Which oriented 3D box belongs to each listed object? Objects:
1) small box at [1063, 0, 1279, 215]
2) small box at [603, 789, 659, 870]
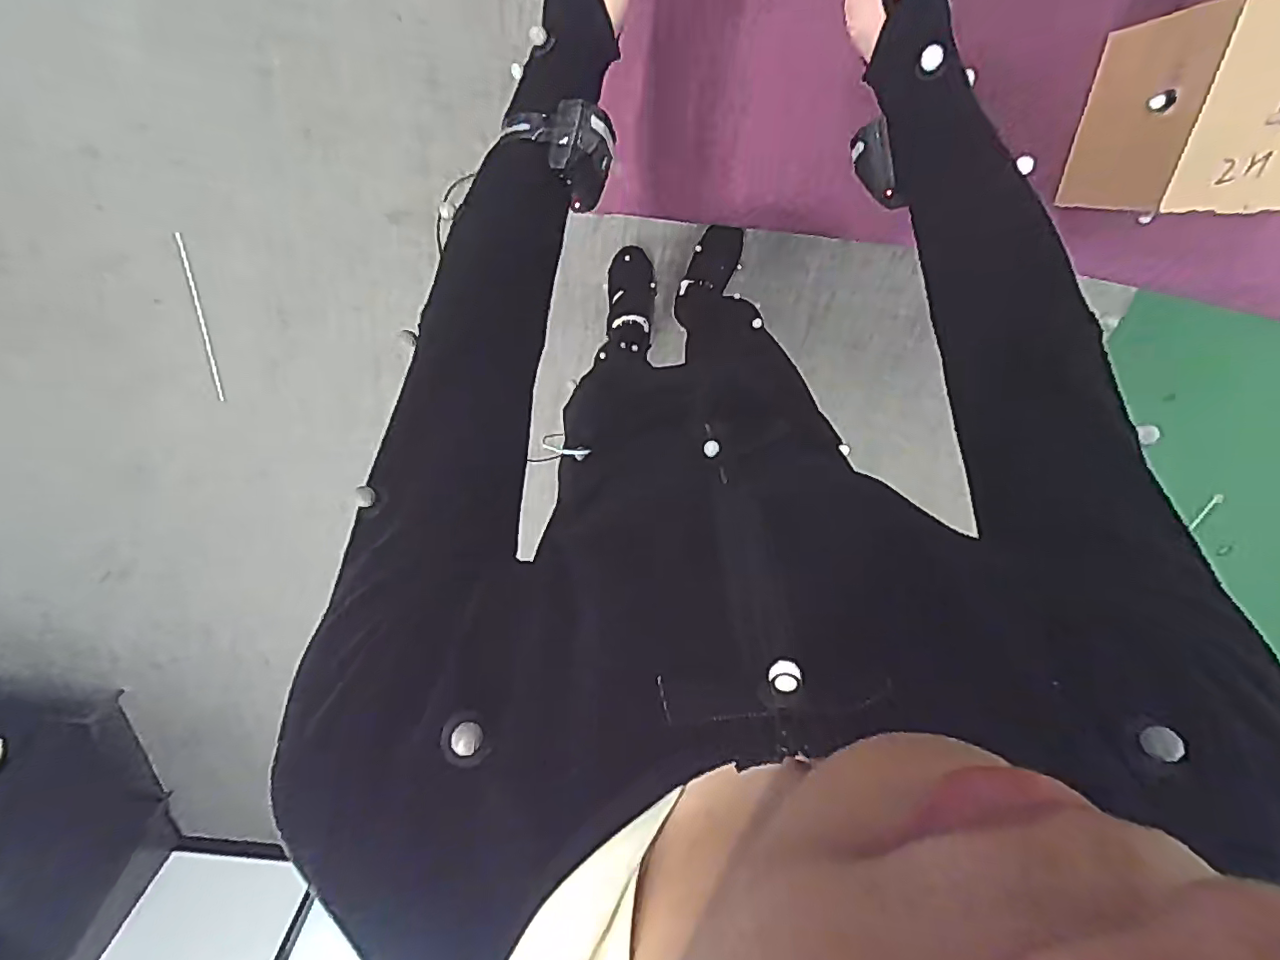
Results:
[{"bbox_3d":[0.606,-0.383,0.575,0.168,0.176,0.179,1,119,2],"label":"small box"},{"bbox_3d":[-0.028,1.230,1.908,0.168,0.176,0.179,11,119,-4],"label":"small box"}]
